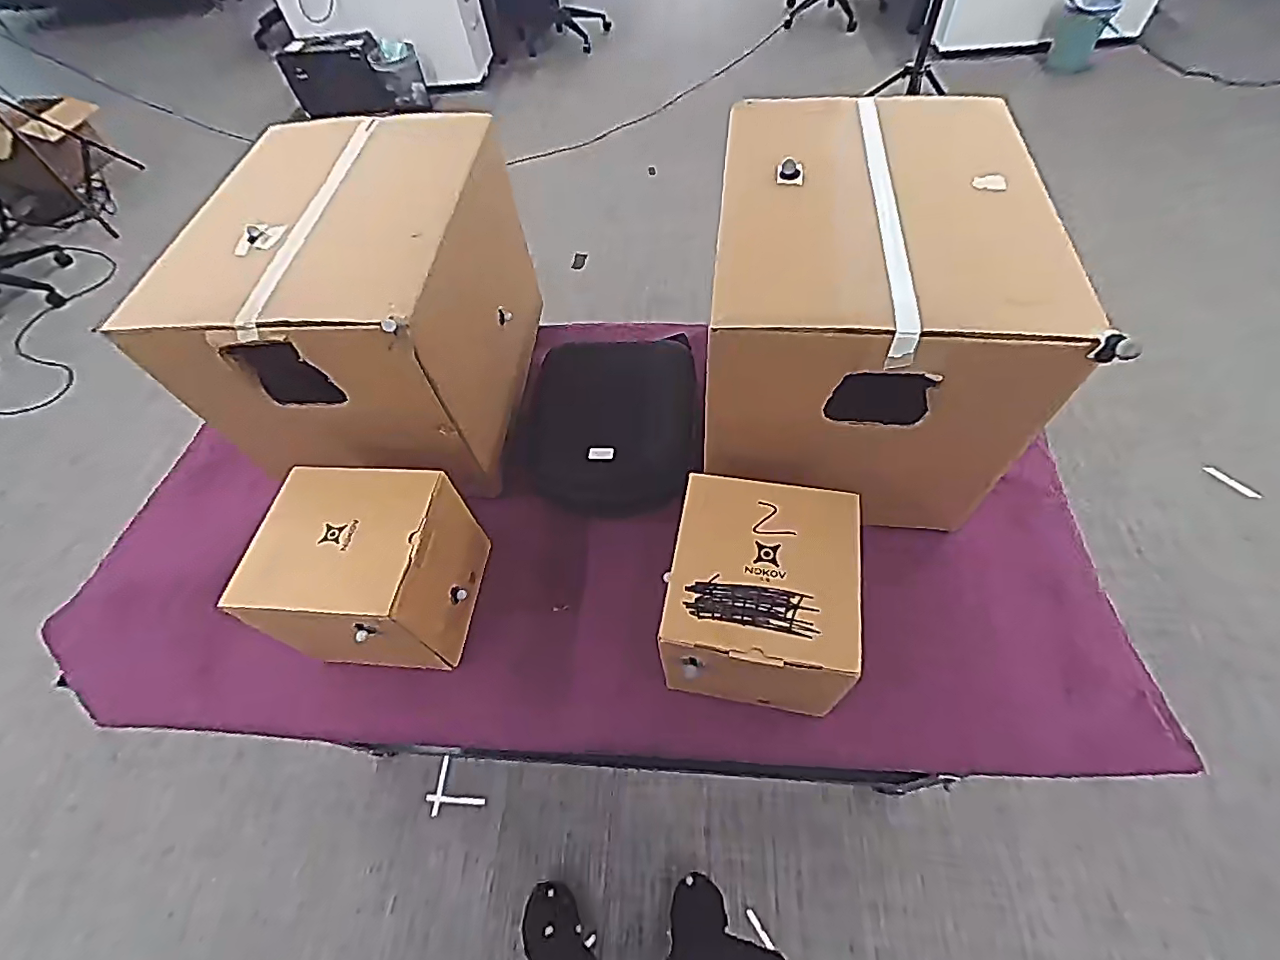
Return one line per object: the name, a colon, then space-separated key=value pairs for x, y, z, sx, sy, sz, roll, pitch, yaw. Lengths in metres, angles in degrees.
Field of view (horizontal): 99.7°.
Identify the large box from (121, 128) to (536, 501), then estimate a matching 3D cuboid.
large box: x=-0.346 y=-0.218 z=0.747 sx=0.320 sy=0.320 sz=0.408 roll=-1 pitch=58 yaw=5
